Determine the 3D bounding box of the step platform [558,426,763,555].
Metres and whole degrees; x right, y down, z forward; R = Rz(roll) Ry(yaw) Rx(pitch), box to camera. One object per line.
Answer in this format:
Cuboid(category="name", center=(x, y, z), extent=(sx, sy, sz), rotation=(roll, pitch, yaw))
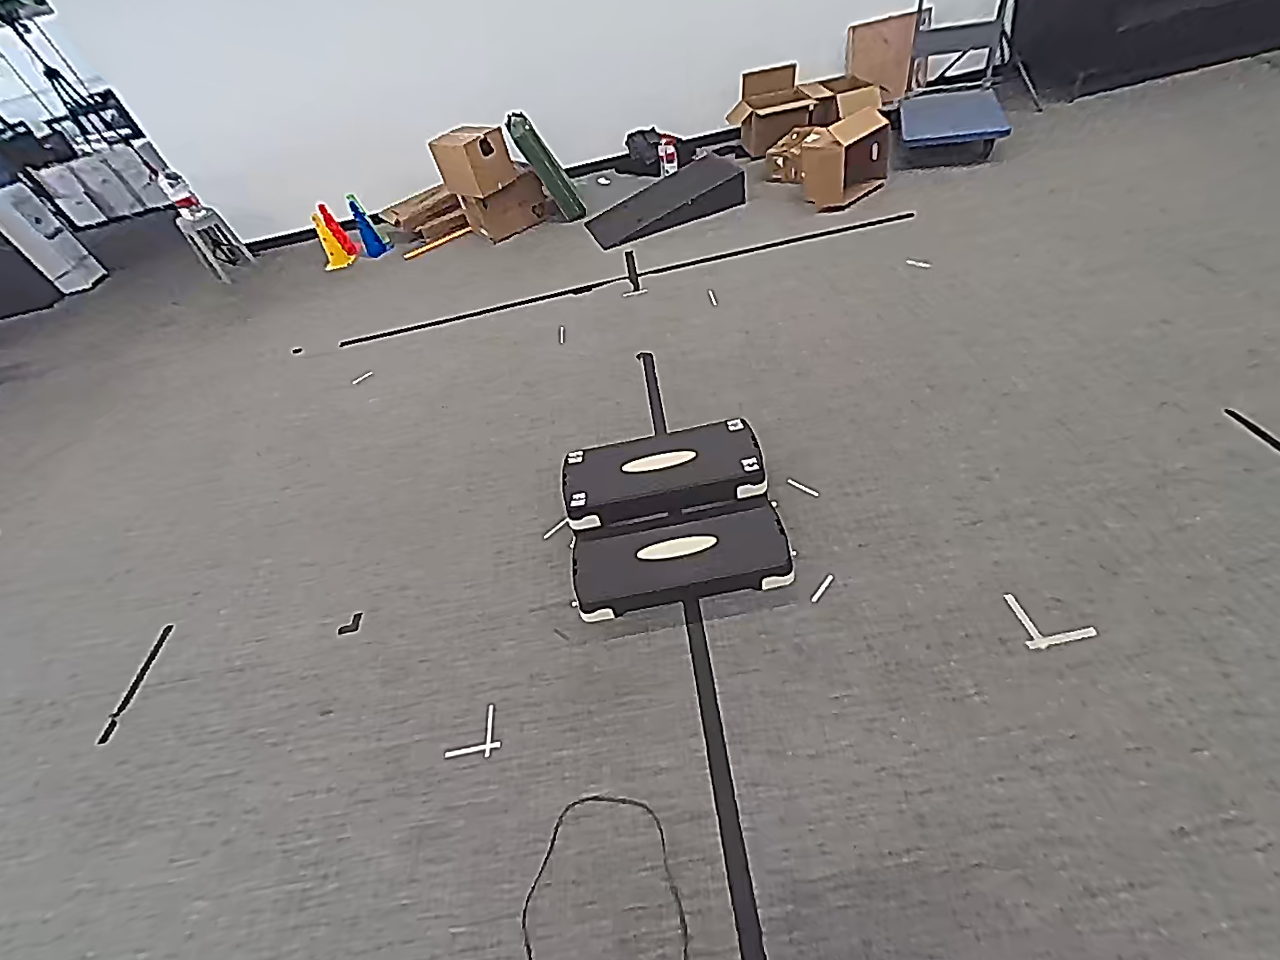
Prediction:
Cuboid(category="step platform", center=(0.064, 0.030, 1.840), extent=(0.684, 0.204, 0.286), rotation=(-12, 47, 2))
